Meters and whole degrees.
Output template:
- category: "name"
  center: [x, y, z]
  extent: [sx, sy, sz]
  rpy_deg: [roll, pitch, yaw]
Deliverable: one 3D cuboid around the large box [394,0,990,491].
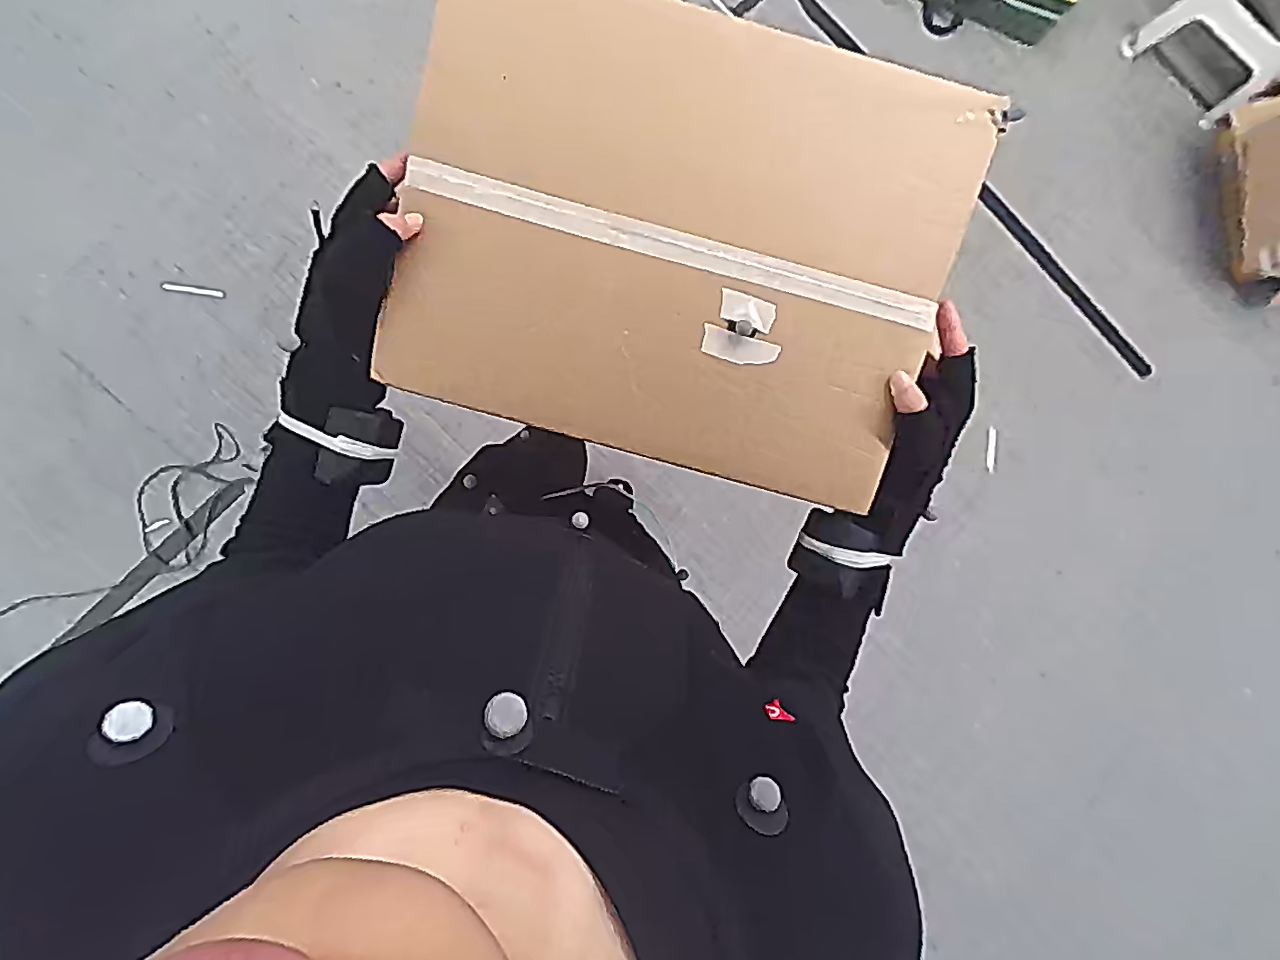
- category: "large box"
  center: [0.030, -0.206, 0.562]
  extent: [0.408, 0.320, 0.320]
  rpy_deg: [15, 100, -2]
